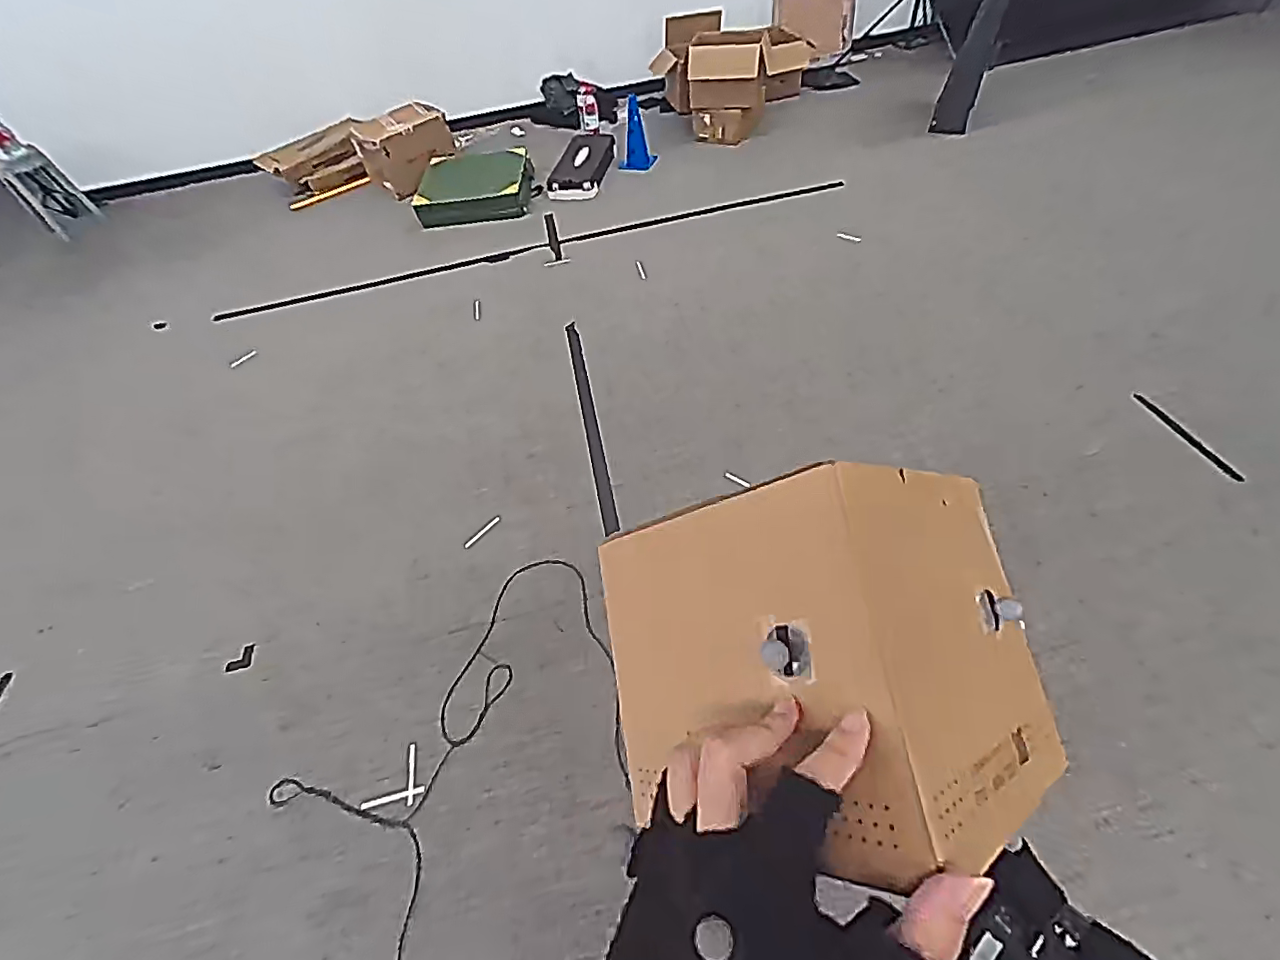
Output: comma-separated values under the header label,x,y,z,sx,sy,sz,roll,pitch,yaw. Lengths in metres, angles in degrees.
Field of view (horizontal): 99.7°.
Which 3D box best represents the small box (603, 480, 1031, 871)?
label,x,y,z,sx,sy,sz,roll,pitch,yaw
small box,0.102,0.106,0.335,0.168,0.179,0.176,4,70,-40
